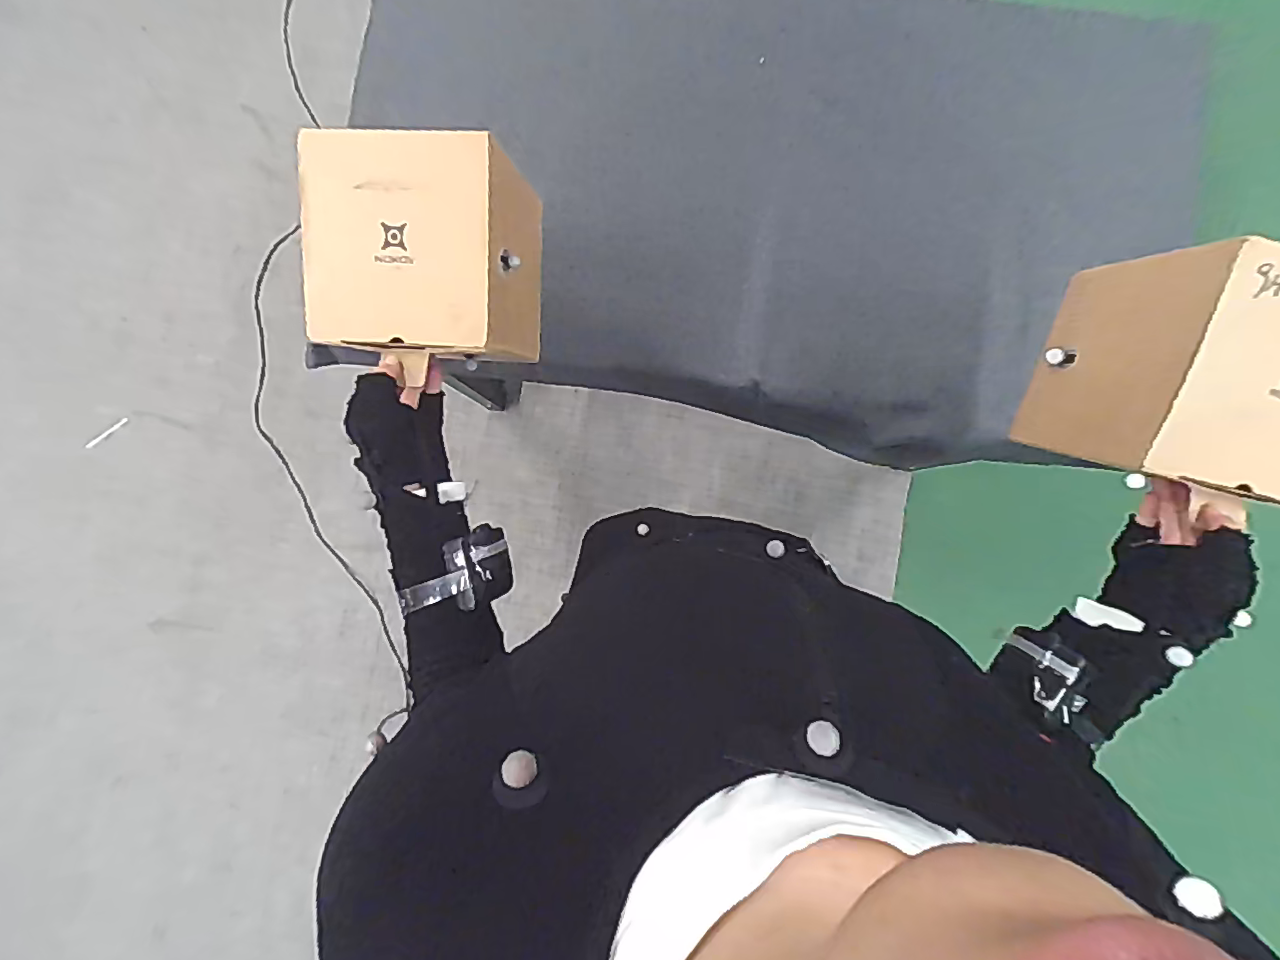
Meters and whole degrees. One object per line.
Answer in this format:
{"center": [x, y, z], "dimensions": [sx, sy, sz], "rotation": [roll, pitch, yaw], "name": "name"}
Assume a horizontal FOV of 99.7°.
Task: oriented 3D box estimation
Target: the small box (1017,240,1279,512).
{"center": [0.484, -0.088, 0.480], "dimensions": [0.168, 0.176, 0.179], "rotation": [14, 104, -2], "name": "small box"}

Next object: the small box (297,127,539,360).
{"center": [-0.200, -0.213, 0.532], "dimensions": [0.168, 0.176, 0.179], "rotation": [3, 98, 3], "name": "small box"}
